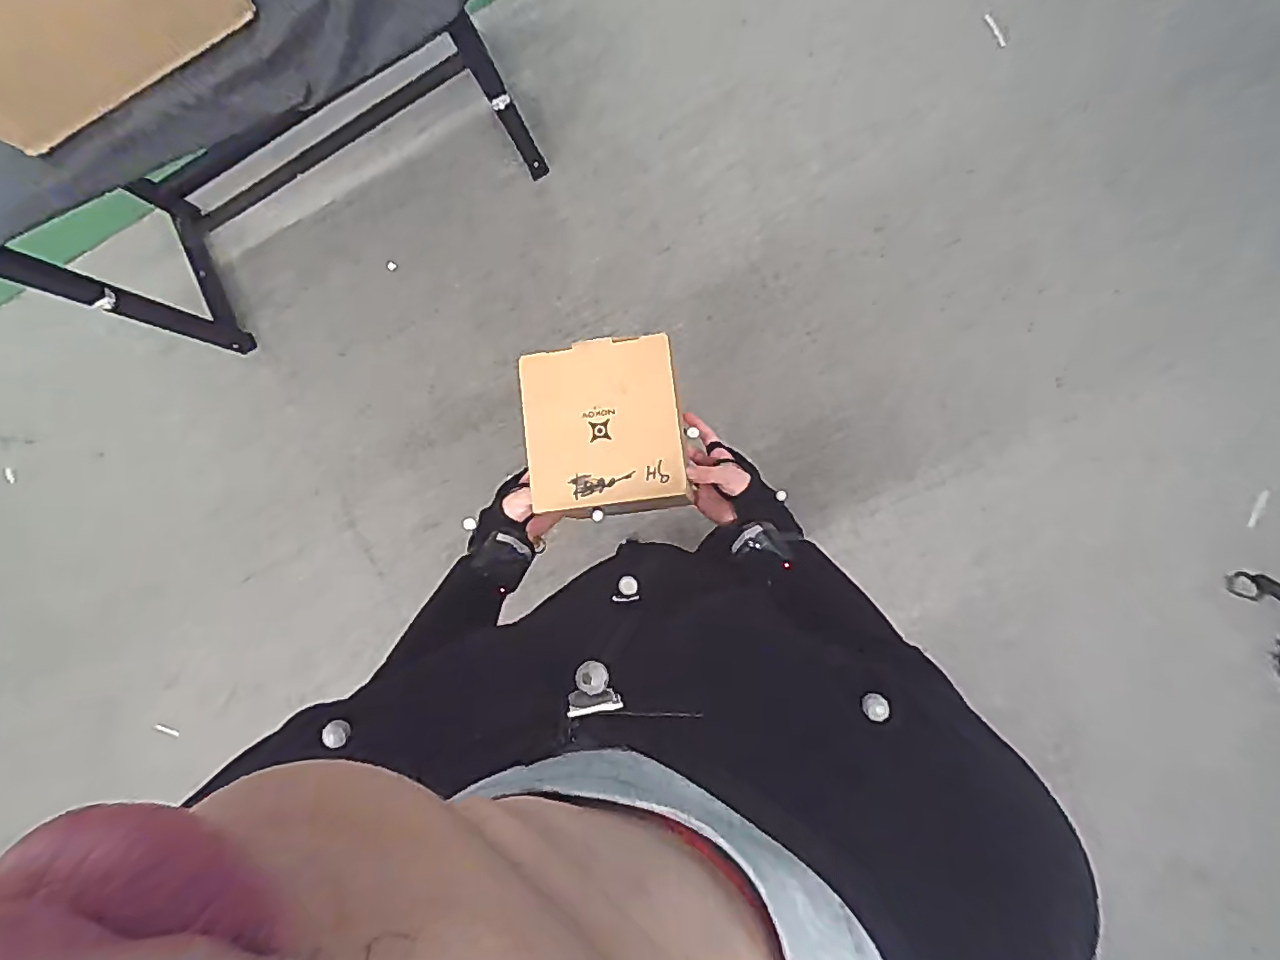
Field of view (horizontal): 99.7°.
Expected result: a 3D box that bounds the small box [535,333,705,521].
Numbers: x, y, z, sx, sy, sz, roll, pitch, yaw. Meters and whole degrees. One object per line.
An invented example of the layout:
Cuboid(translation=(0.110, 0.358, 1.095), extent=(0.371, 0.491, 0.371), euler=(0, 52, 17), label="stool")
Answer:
Cuboid(translation=(-0.015, -0.050, 0.645), extent=(0.168, 0.176, 0.179), euler=(-8, 82, 8), label="small box")
